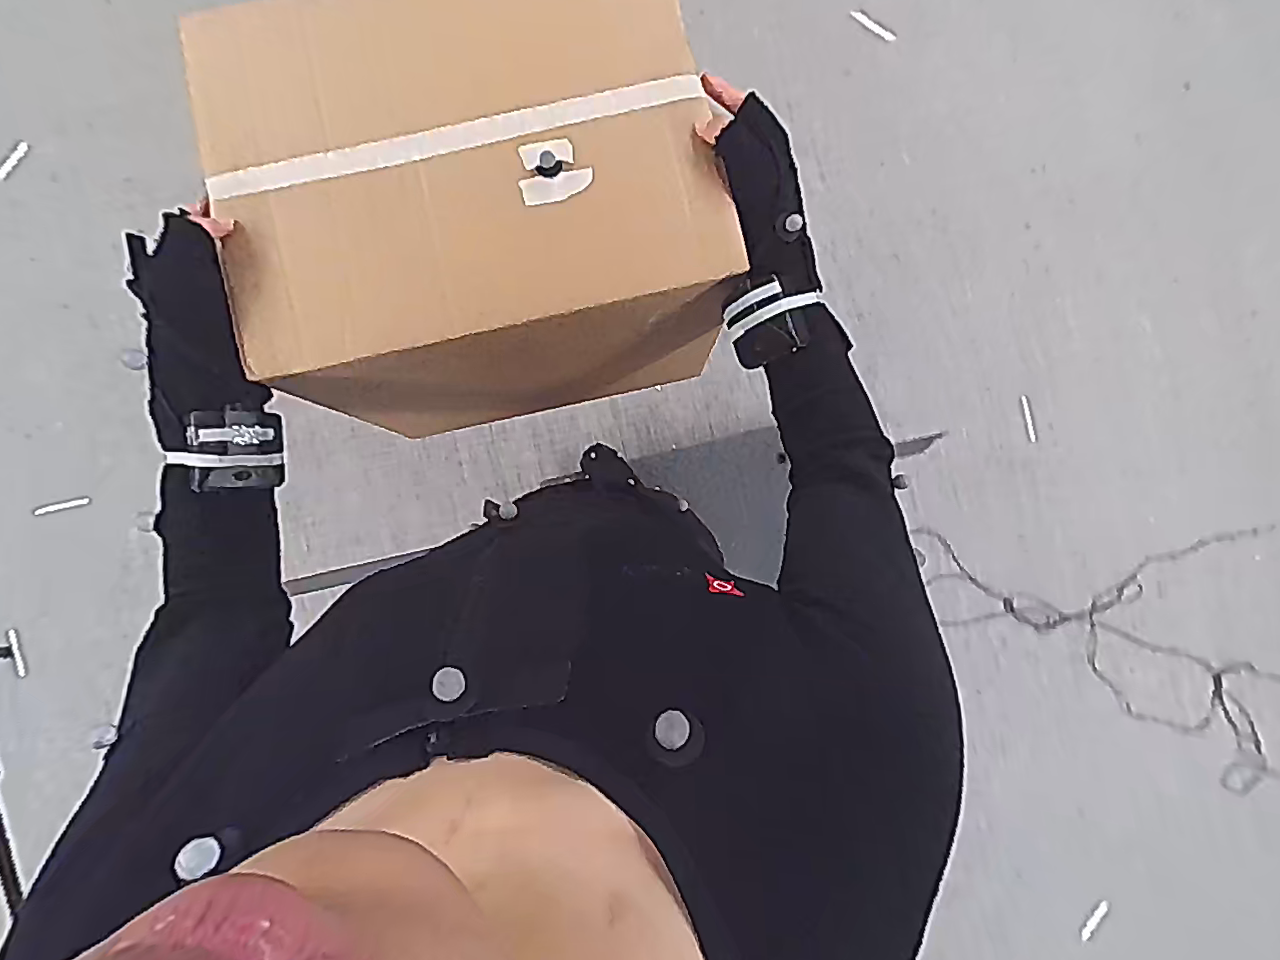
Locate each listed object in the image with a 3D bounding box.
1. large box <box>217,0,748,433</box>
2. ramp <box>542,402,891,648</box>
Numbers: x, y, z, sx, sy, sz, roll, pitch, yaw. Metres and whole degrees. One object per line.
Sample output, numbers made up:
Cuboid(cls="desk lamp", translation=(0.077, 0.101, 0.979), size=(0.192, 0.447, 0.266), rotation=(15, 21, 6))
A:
Cuboid(cls="large box", translation=(-0.139, -0.266, 0.601), size=(0.408, 0.320, 0.320), rotation=(-13, 86, -2))
Cuboid(cls="ramp", translation=(0.256, 0.105, 1.583), size=(0.991, 0.206, 0.509), rotation=(-16, 90, -2))
